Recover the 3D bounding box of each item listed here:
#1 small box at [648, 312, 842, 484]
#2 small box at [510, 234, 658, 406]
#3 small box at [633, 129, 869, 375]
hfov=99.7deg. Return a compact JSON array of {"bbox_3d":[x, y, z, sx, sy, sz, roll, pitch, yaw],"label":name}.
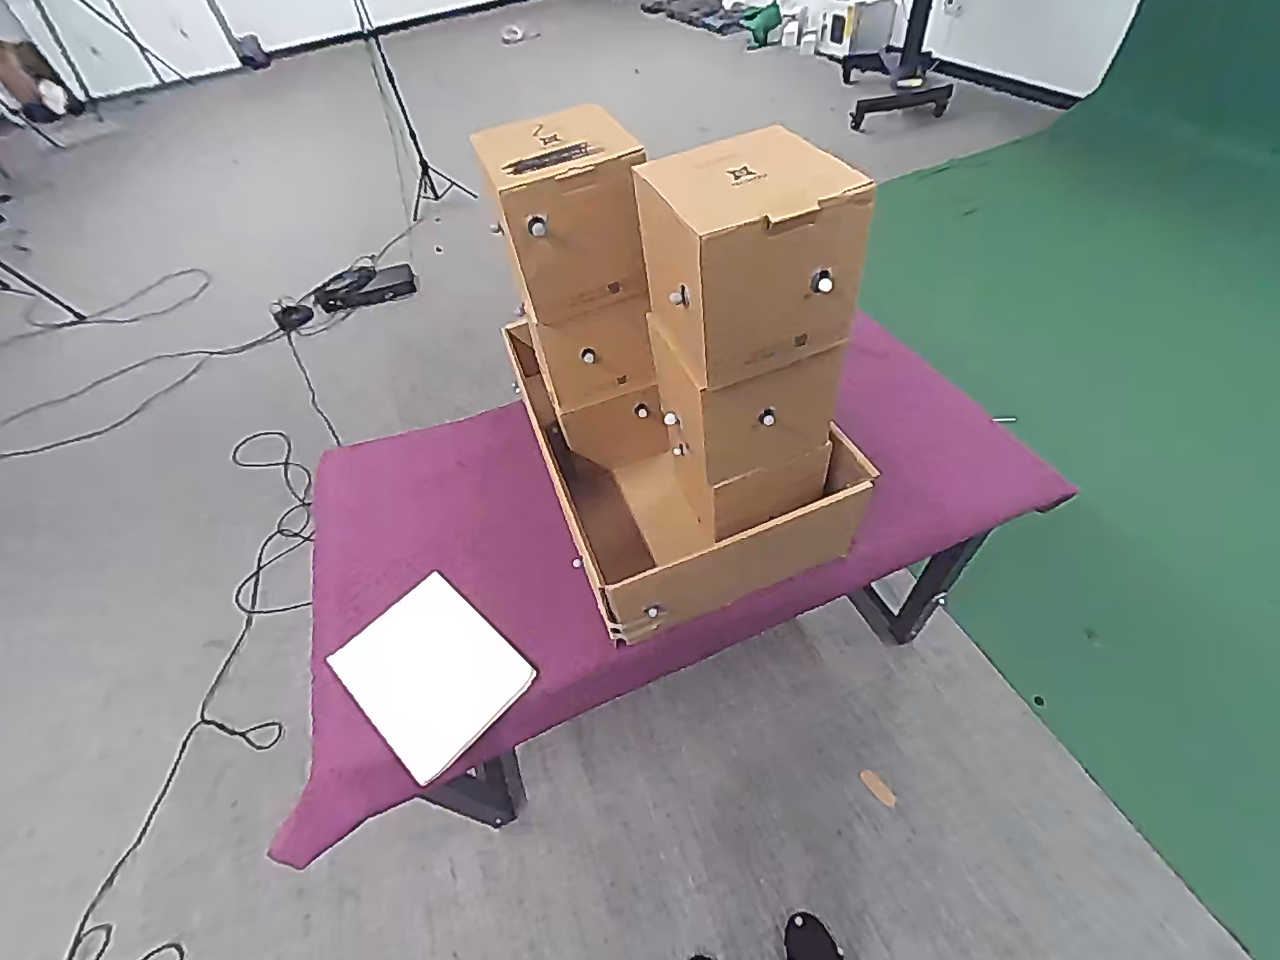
[{"bbox_3d":[0.125,-0.125,0.688,0.179,0.176,0.168,-21,49,-6],"label":"small box"},{"bbox_3d":[-0.079,-0.233,0.815,0.168,0.176,0.179,-19,52,-8],"label":"small box"},{"bbox_3d":[0.106,-0.229,0.564,0.168,0.176,0.179,-20,49,-7],"label":"small box"}]
